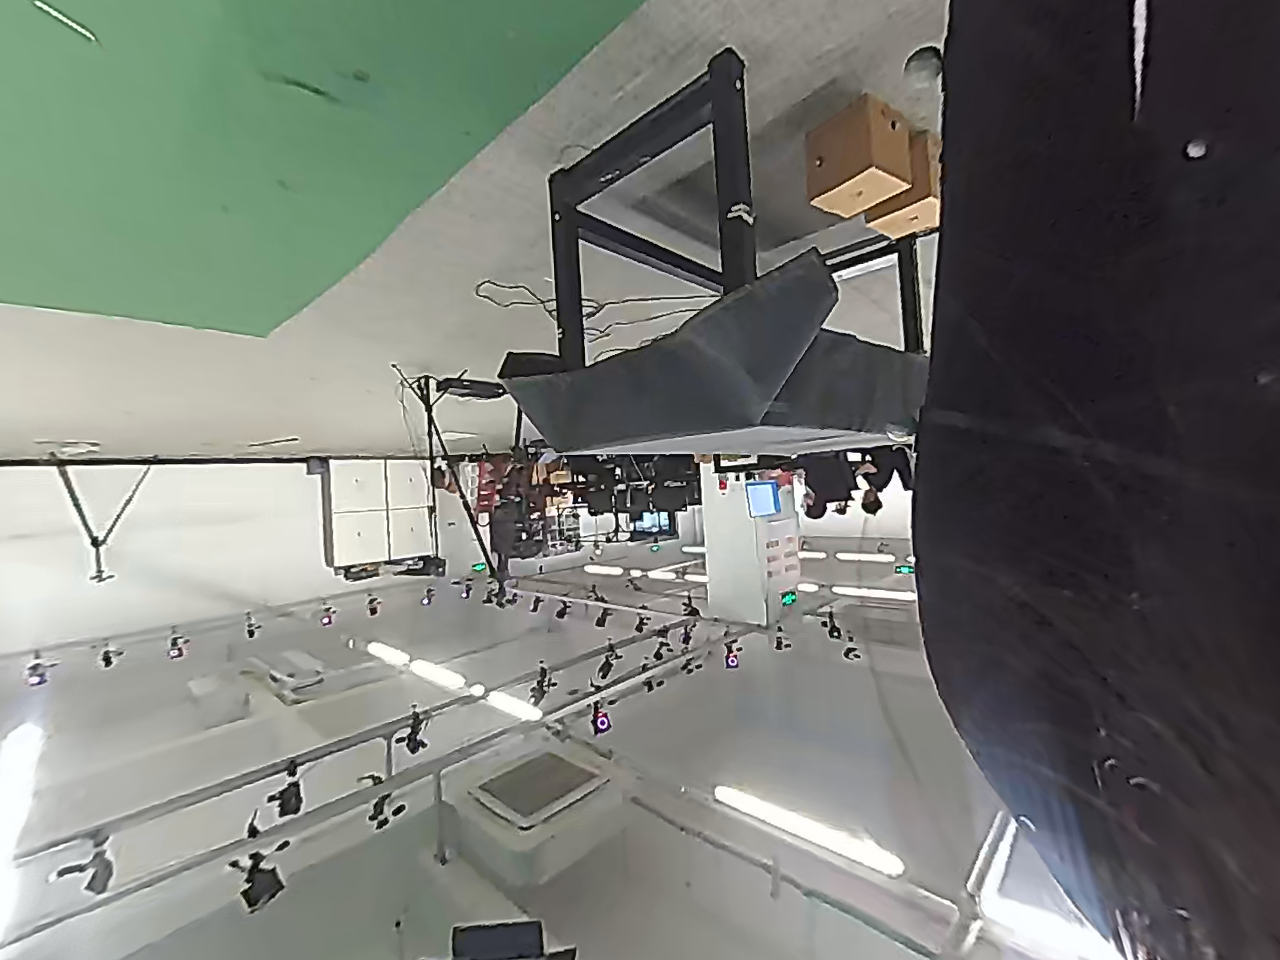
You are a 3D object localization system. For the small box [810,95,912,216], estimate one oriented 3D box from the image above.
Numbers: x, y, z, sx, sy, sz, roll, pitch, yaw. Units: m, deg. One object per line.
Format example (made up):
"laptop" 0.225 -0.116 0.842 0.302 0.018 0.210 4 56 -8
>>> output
"small box" 0.527 -0.769 1.296 0.168 0.176 0.179 -5 -179 -35
